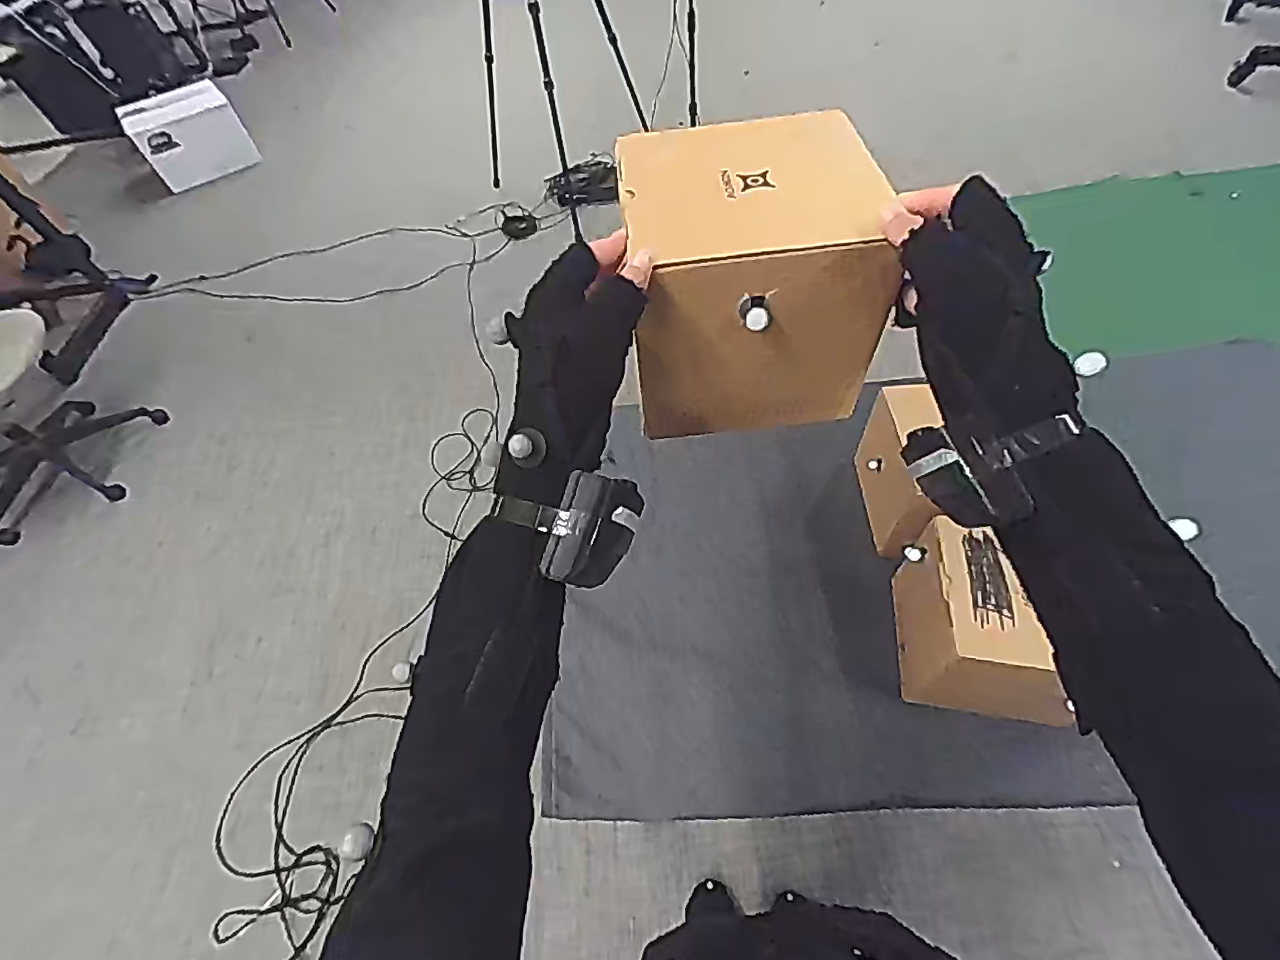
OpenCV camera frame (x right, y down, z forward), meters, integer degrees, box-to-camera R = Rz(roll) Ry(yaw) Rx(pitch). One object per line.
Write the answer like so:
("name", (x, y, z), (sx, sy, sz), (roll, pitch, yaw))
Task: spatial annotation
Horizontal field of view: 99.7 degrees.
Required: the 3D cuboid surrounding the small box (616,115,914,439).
("small box", (0.079, -0.151, 0.431), (0.179, 0.176, 0.168), (-7, 56, 3))
